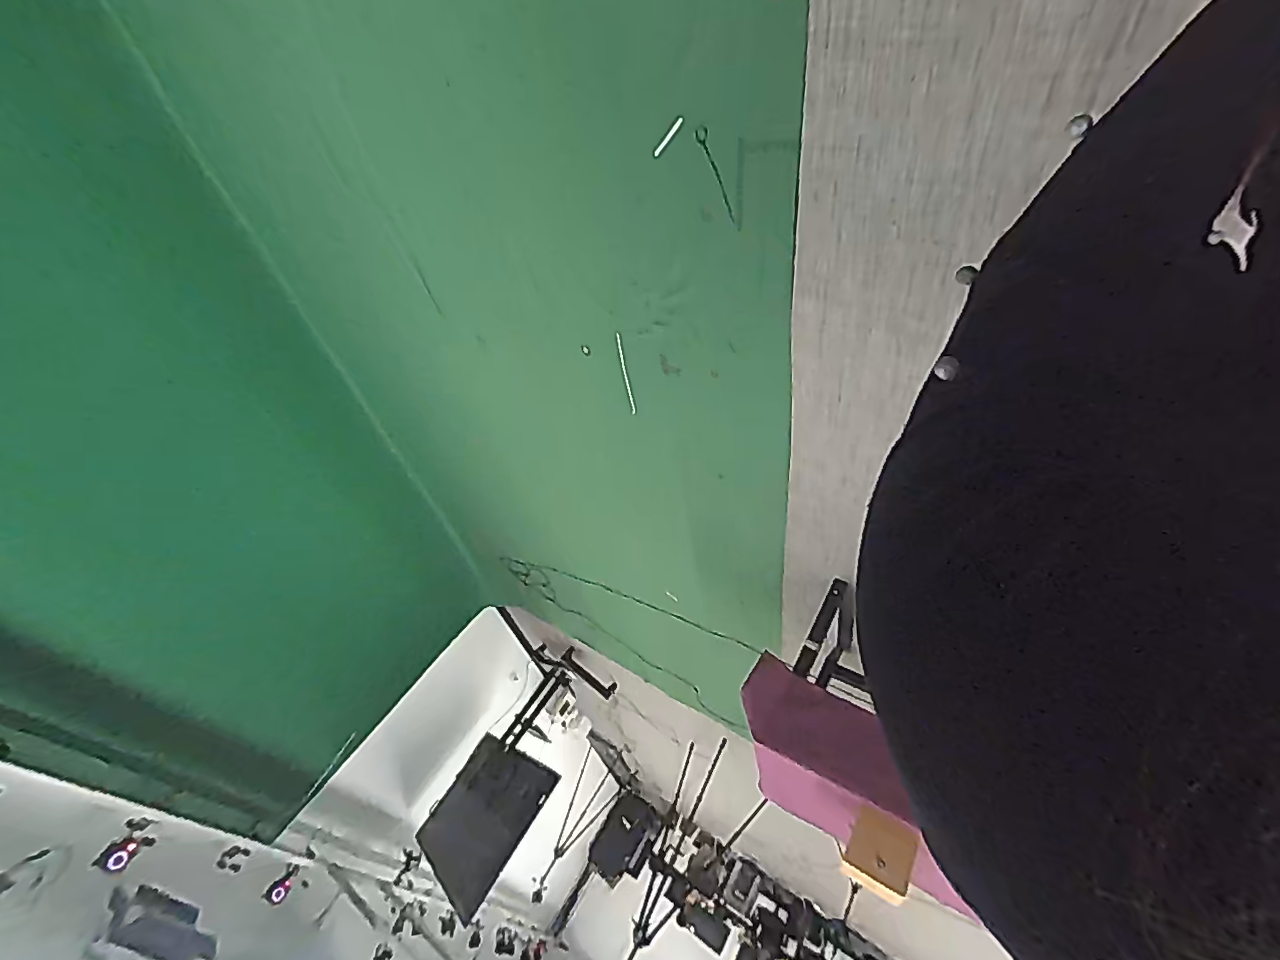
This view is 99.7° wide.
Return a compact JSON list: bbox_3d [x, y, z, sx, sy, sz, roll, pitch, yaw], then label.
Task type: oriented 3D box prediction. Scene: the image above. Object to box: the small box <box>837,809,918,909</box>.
[{"bbox_3d":[0.705,1.121,1.607,0.179,0.176,0.168,19,143,30],"label":"small box"}]
